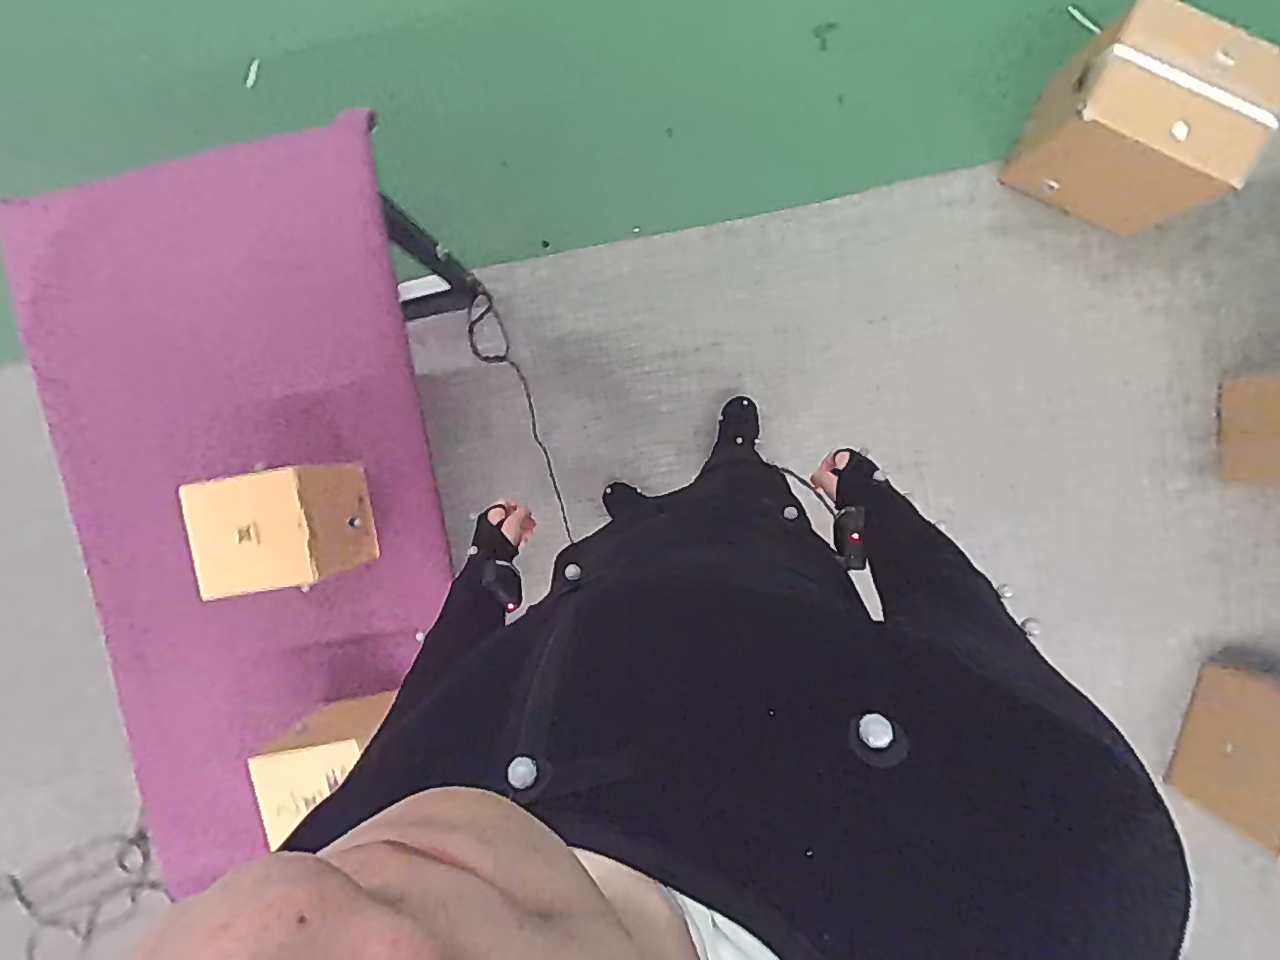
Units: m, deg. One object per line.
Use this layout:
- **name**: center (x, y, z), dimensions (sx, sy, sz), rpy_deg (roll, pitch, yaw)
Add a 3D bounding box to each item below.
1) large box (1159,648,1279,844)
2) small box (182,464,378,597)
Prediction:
- **large box**: center (1.757, 0.737, 1.486), dimensions (0.320, 0.320, 0.408), rpy_deg (13, 93, 0)
- **small box**: center (-0.547, 0.070, 0.844), dimensions (0.179, 0.176, 0.168), rpy_deg (-10, 93, 3)
